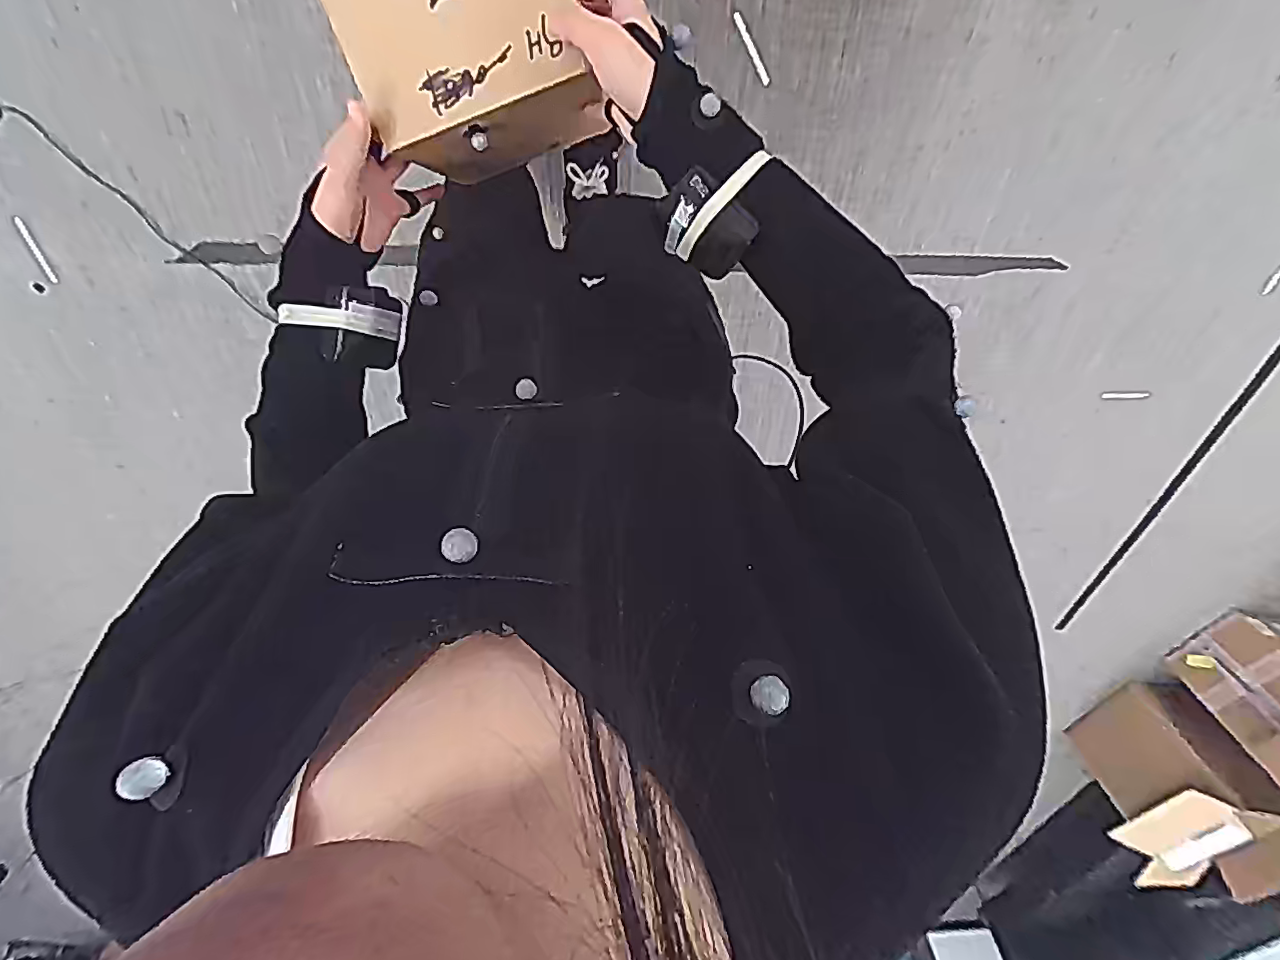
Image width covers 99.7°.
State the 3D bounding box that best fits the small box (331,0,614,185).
[{"bbox_3d":[-0.127,-0.367,0.436,0.168,0.176,0.179,-16,110,8],"label":"small box"}]
